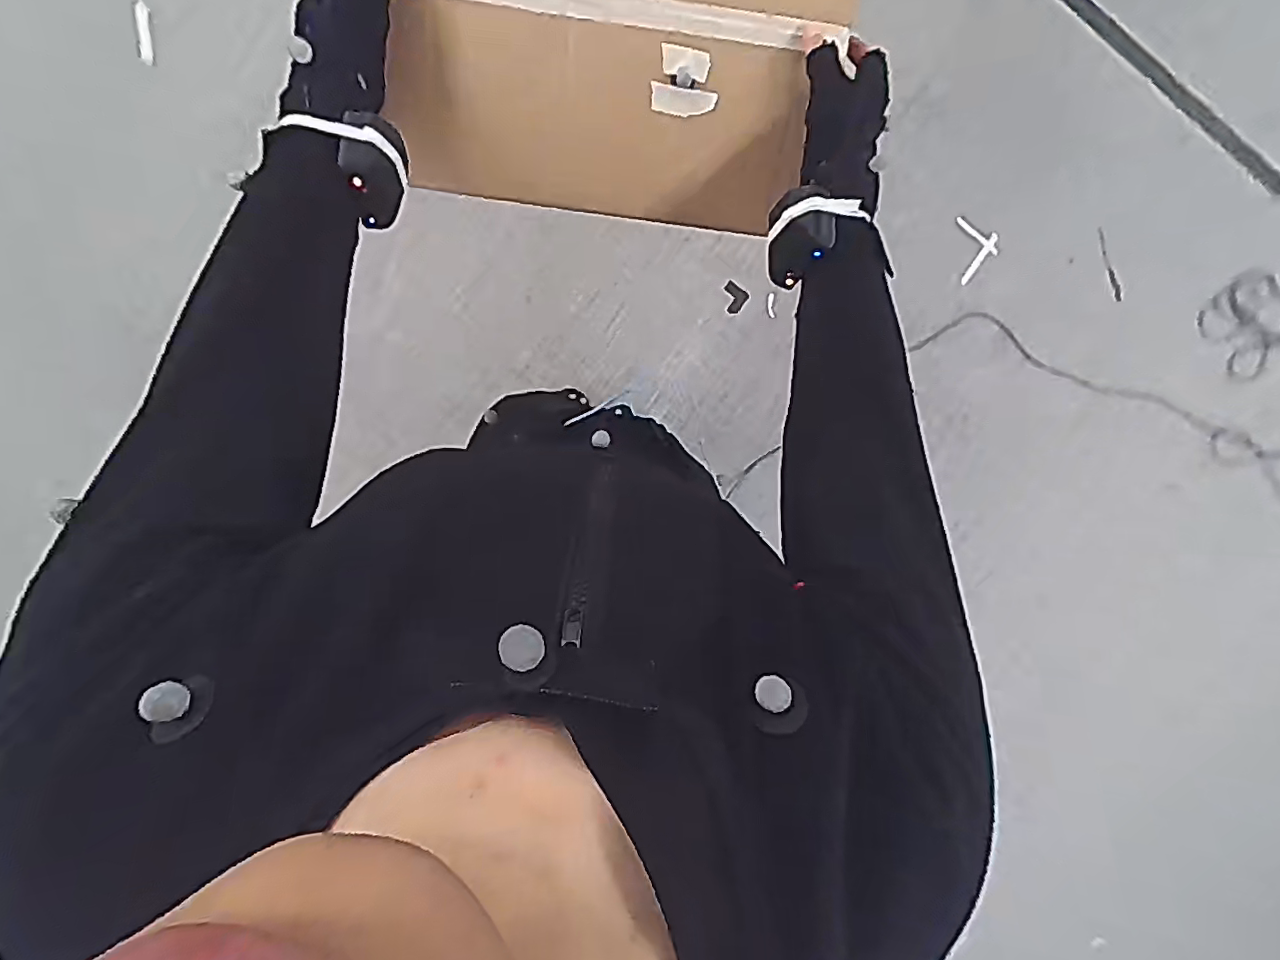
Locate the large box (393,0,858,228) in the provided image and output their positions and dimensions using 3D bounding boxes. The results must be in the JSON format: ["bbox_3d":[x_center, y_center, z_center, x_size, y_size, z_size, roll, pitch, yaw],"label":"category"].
[{"bbox_3d":[-0.015,-0.477,0.597,0.408,0.320,0.320,7,117,-4],"label":"large box"}]
